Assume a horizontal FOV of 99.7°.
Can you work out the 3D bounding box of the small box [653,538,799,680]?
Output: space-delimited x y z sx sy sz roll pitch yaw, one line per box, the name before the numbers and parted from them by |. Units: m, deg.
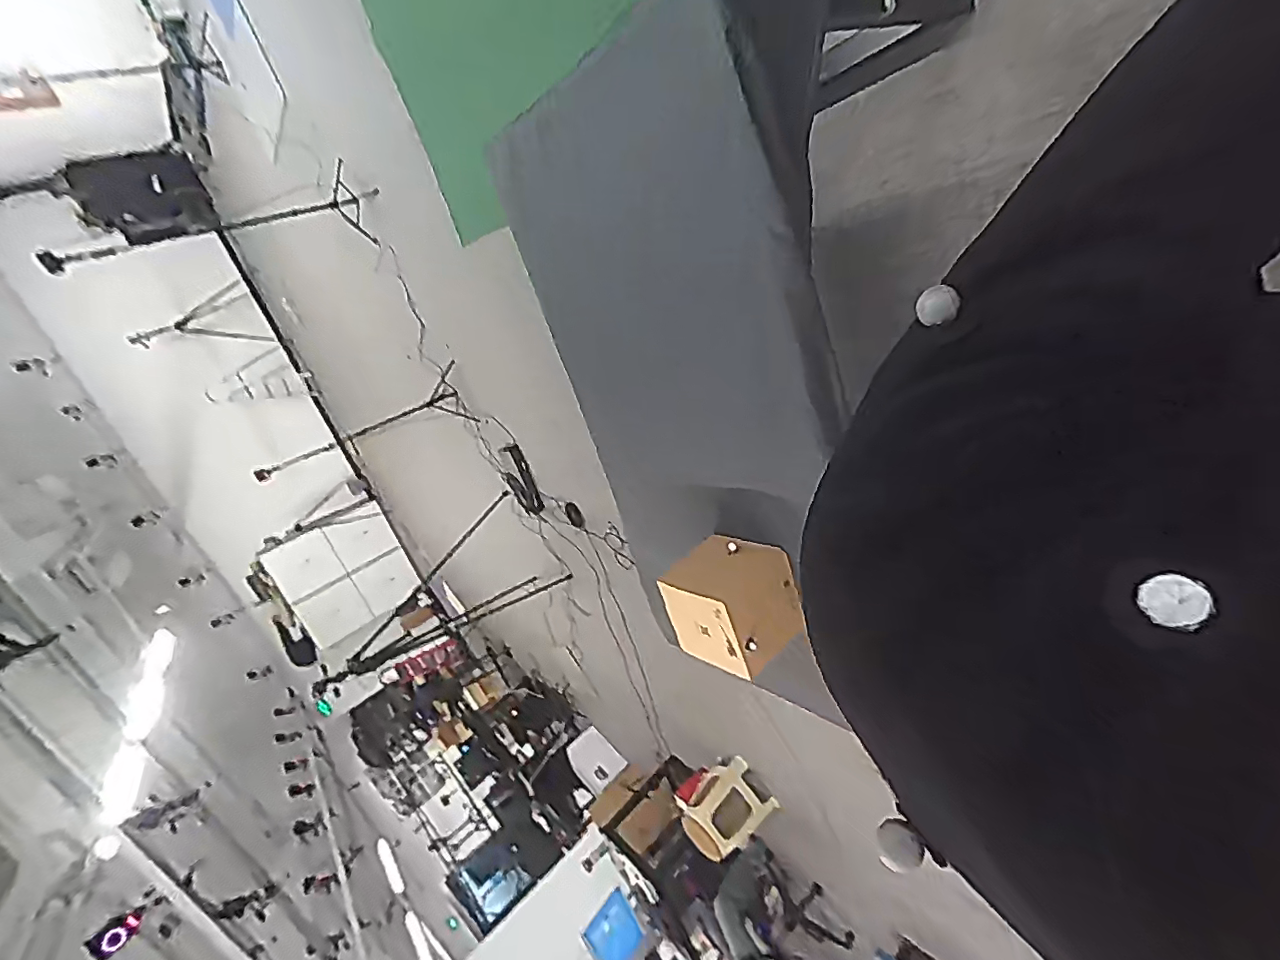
small box | 0.158 0.222 0.986 0.179 0.176 0.168 7 122 53
